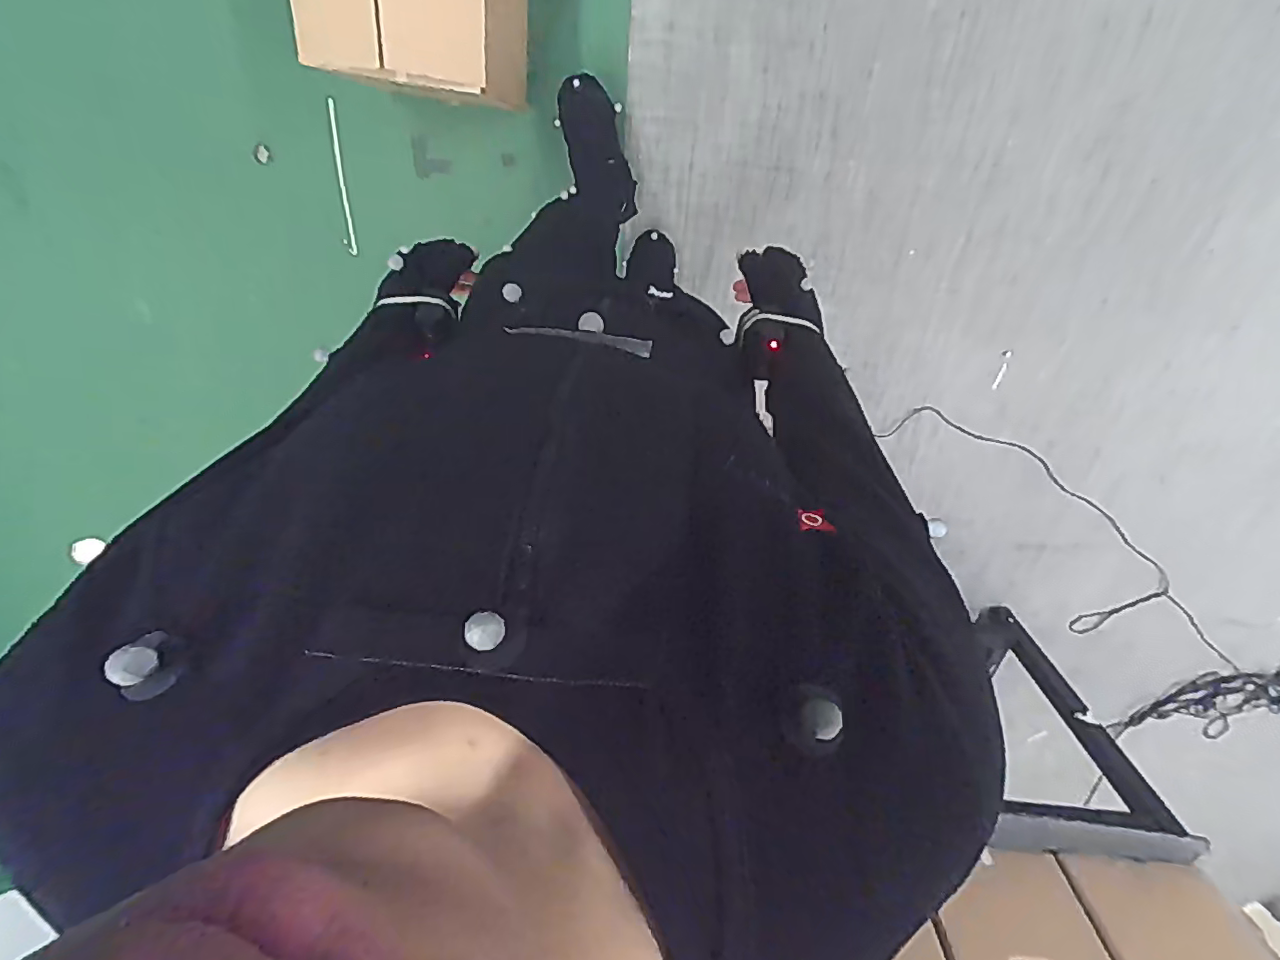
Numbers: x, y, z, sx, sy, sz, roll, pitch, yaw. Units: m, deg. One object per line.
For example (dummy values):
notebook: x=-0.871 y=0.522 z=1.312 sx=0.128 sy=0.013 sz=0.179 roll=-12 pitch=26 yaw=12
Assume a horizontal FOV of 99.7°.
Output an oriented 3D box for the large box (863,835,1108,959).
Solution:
large box: x=0.701 y=1.018 z=1.119 sx=0.320 sy=0.320 sz=0.408 roll=4 pitch=118 yaw=0
